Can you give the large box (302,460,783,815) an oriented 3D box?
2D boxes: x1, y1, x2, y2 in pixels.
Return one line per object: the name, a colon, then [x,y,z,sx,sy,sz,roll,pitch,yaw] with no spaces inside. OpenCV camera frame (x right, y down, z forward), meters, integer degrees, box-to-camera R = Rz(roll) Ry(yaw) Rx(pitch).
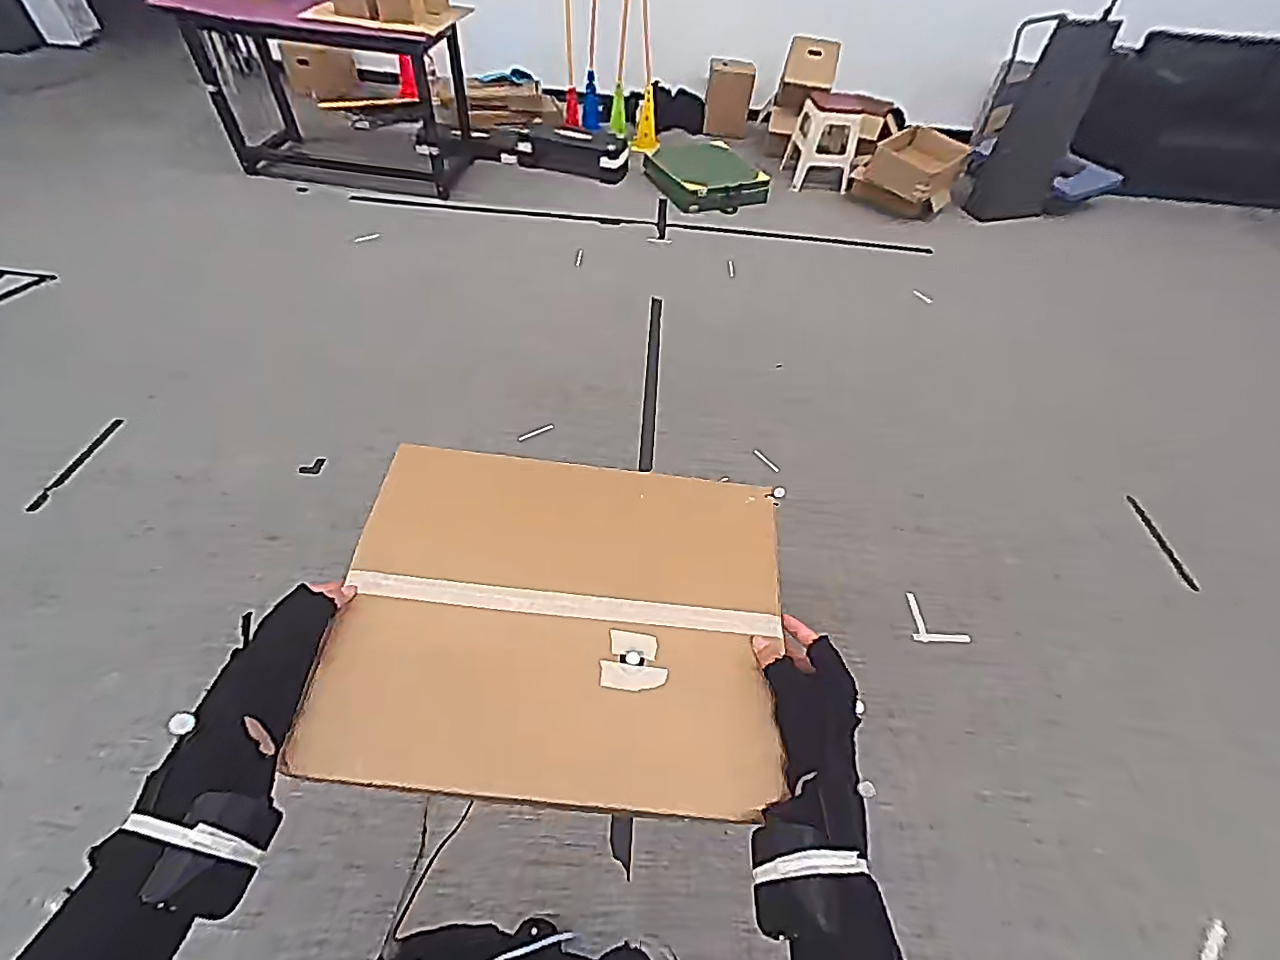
large box: [-0.082,0.204,0.645,0.408,0.320,0.320,7,59,-2]
